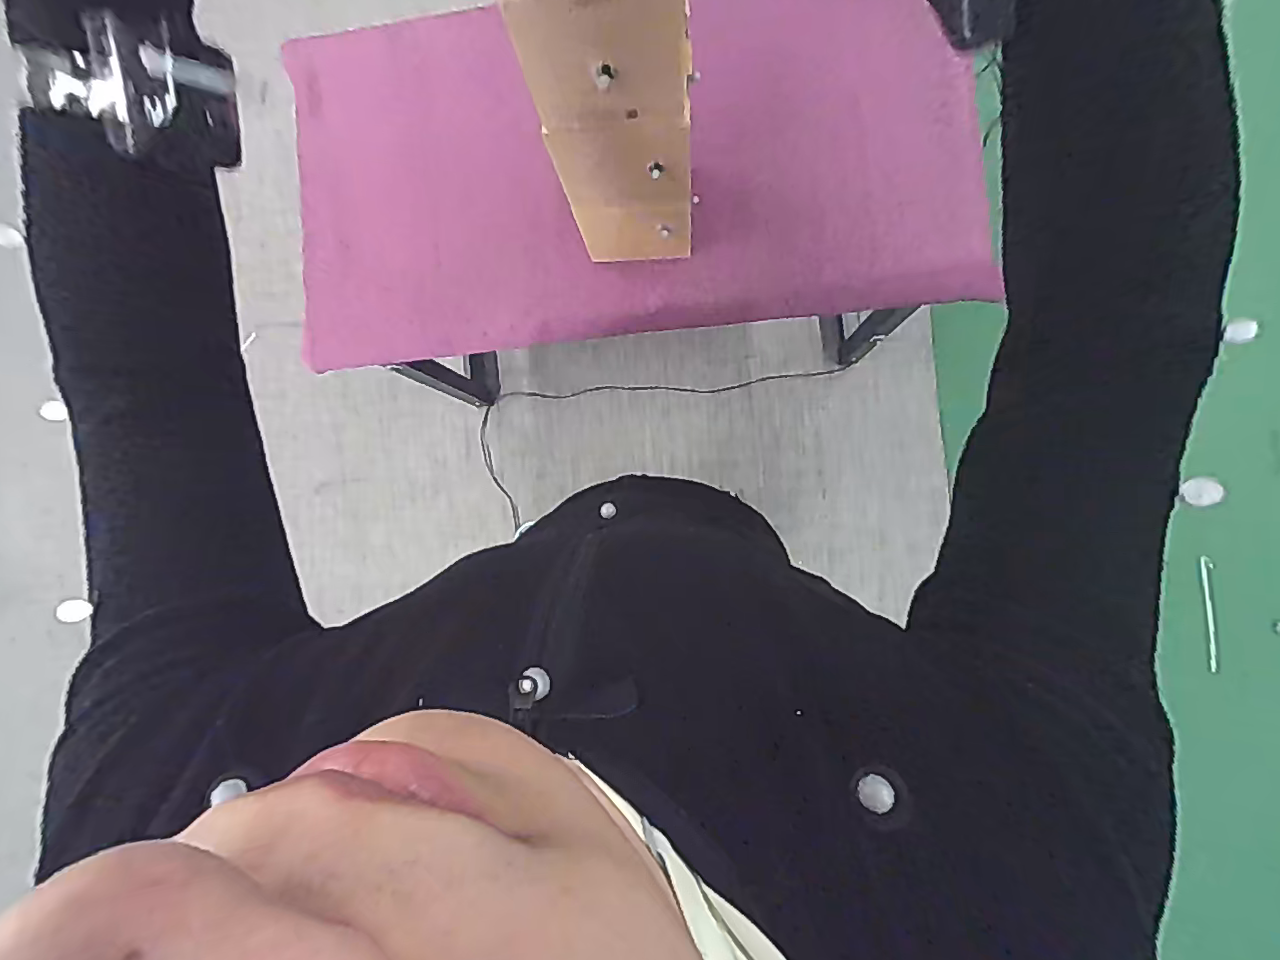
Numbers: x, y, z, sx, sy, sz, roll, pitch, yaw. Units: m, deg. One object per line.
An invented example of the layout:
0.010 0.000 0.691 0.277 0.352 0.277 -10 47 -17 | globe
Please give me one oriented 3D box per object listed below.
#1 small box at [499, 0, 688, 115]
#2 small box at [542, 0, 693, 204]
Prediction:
-0.036 -0.502 0.546 0.168 0.176 0.179 -1 87 5 | small box
-0.020 -0.487 0.707 0.179 0.176 0.168 0 87 6 | small box
